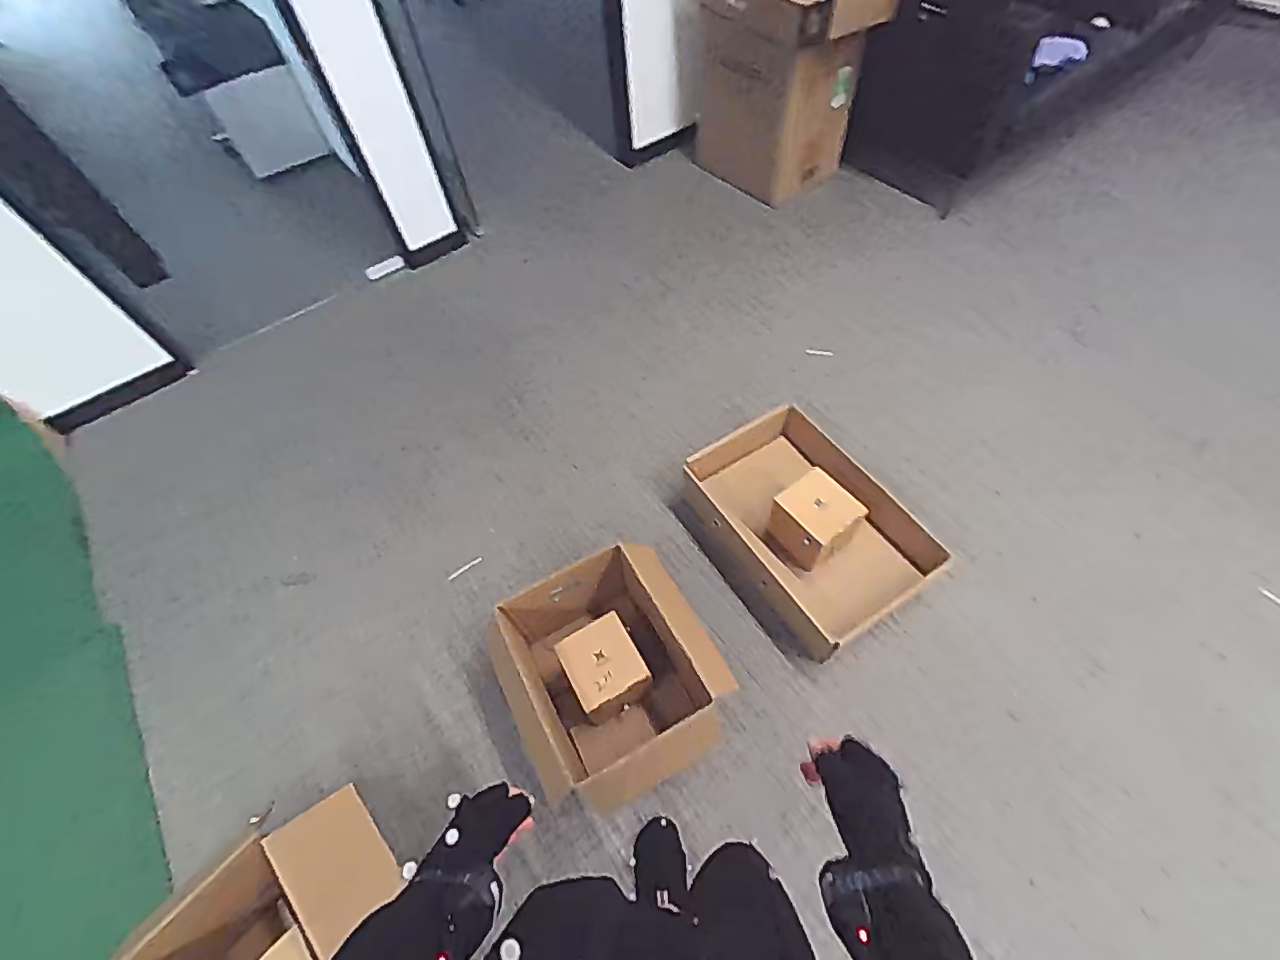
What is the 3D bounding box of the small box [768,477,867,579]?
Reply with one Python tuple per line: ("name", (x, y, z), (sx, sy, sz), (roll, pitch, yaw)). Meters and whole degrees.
("small box", (0.464, 0.132, 1.448), (0.168, 0.176, 0.179), (-33, 60, -17))
